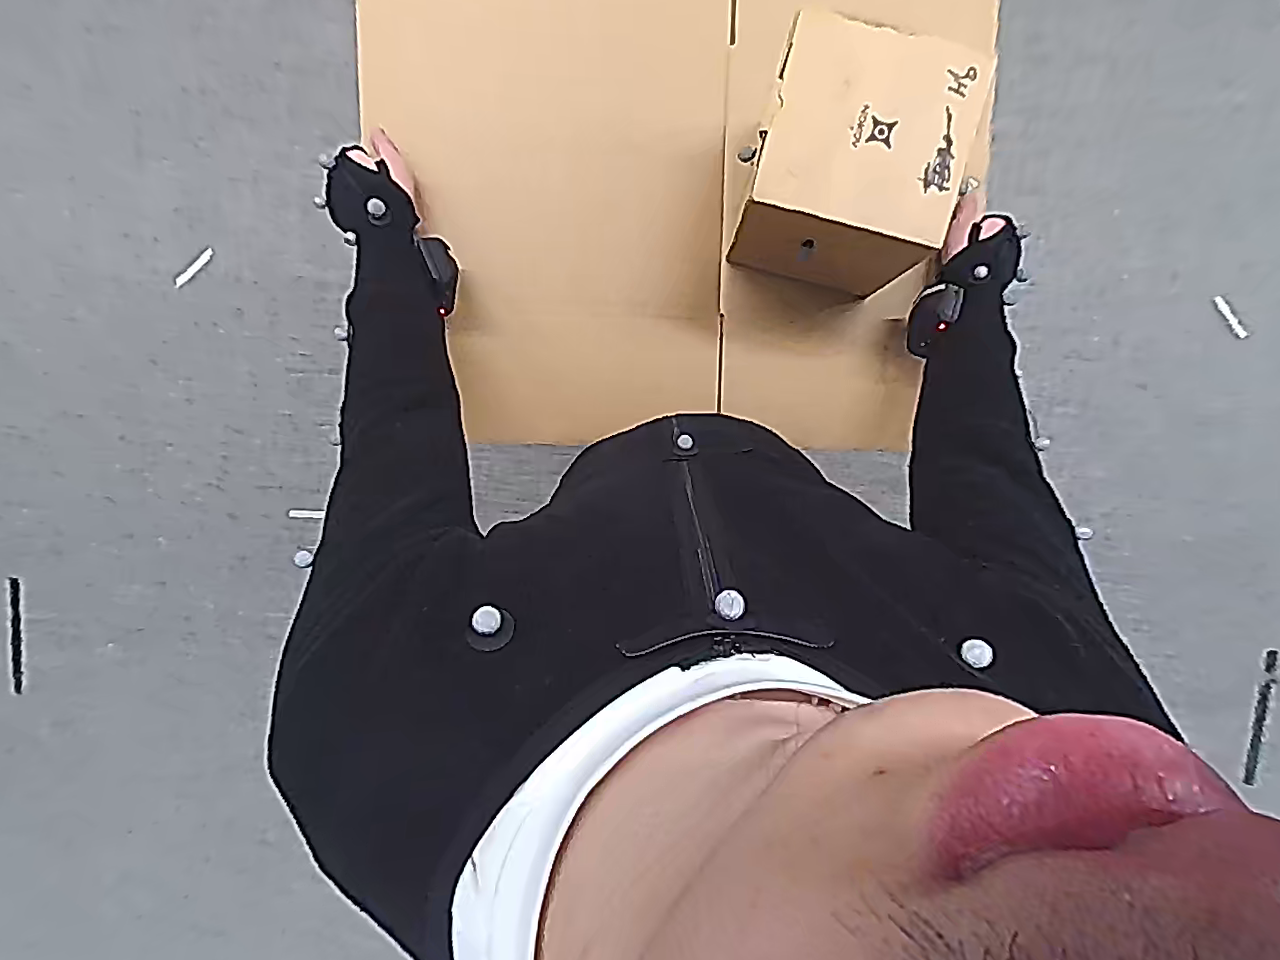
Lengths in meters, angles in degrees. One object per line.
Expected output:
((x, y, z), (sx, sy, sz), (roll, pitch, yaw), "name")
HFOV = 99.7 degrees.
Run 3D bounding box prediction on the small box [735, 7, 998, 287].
((0.206, -0.314, 0.549), (0.179, 0.176, 0.168), (15, 95, 2), "small box")
